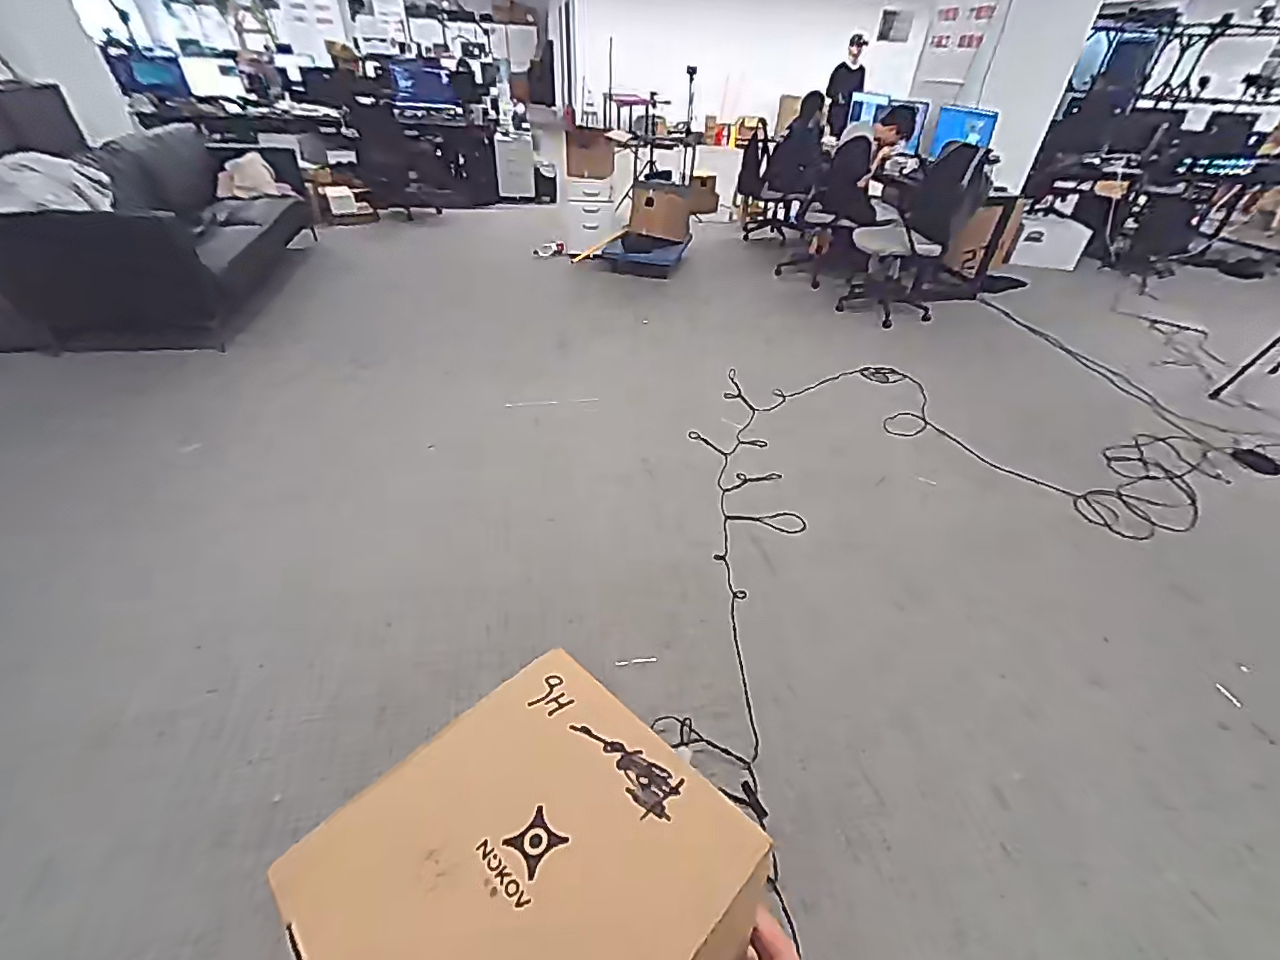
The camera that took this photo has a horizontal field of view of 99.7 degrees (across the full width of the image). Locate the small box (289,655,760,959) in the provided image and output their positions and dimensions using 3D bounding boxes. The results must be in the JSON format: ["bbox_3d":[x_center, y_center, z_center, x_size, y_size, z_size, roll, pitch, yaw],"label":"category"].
[{"bbox_3d":[-0.051,0.248,0.308,0.168,0.176,0.179,28,45,36],"label":"small box"}]
